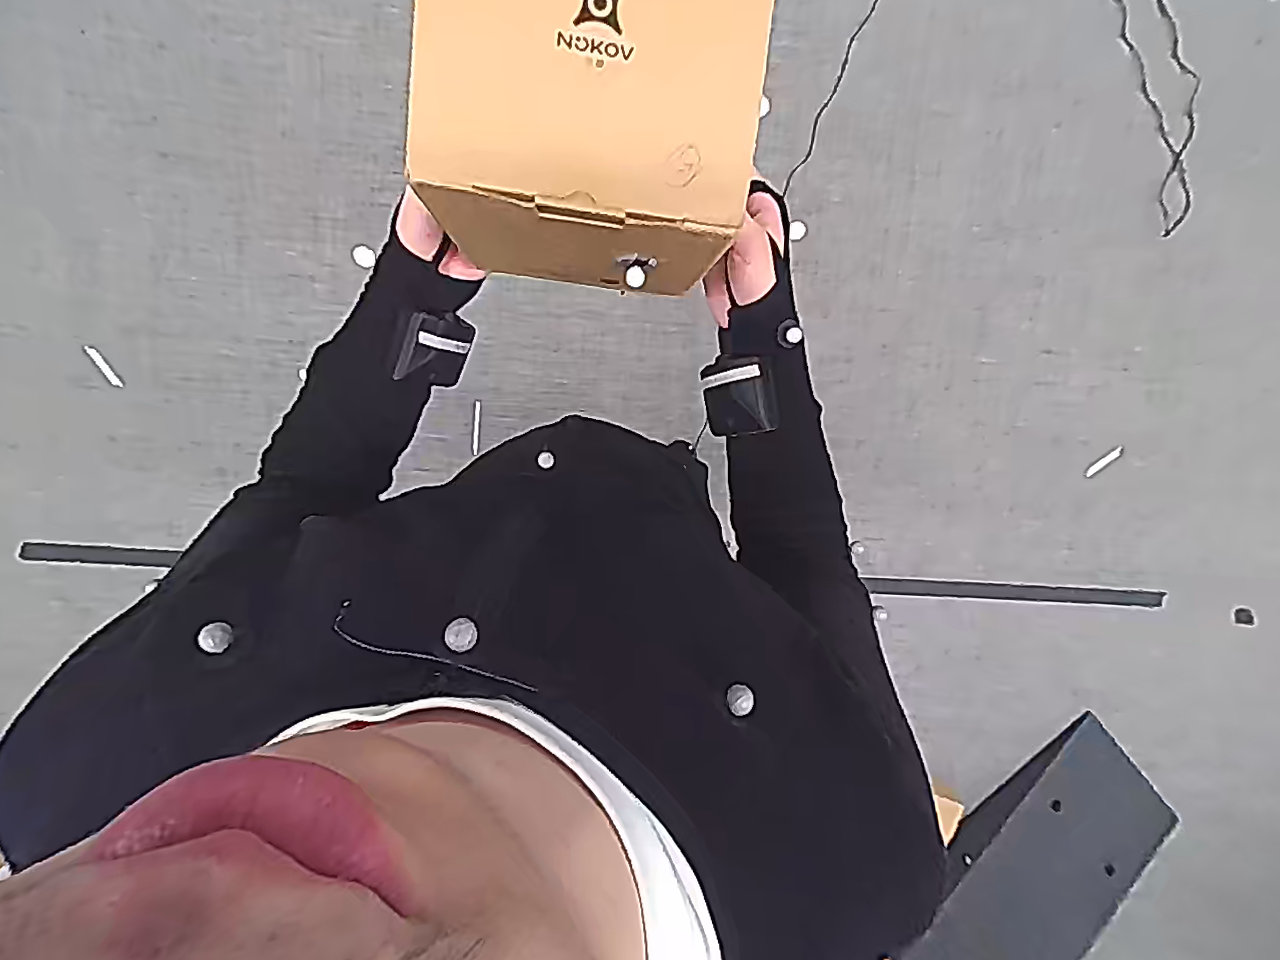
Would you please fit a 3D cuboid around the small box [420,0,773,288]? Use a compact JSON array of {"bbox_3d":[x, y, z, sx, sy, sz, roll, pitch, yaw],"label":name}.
[{"bbox_3d":[-0.026,-0.232,0.340,0.168,0.176,0.179,6,96,-8],"label":"small box"}]
